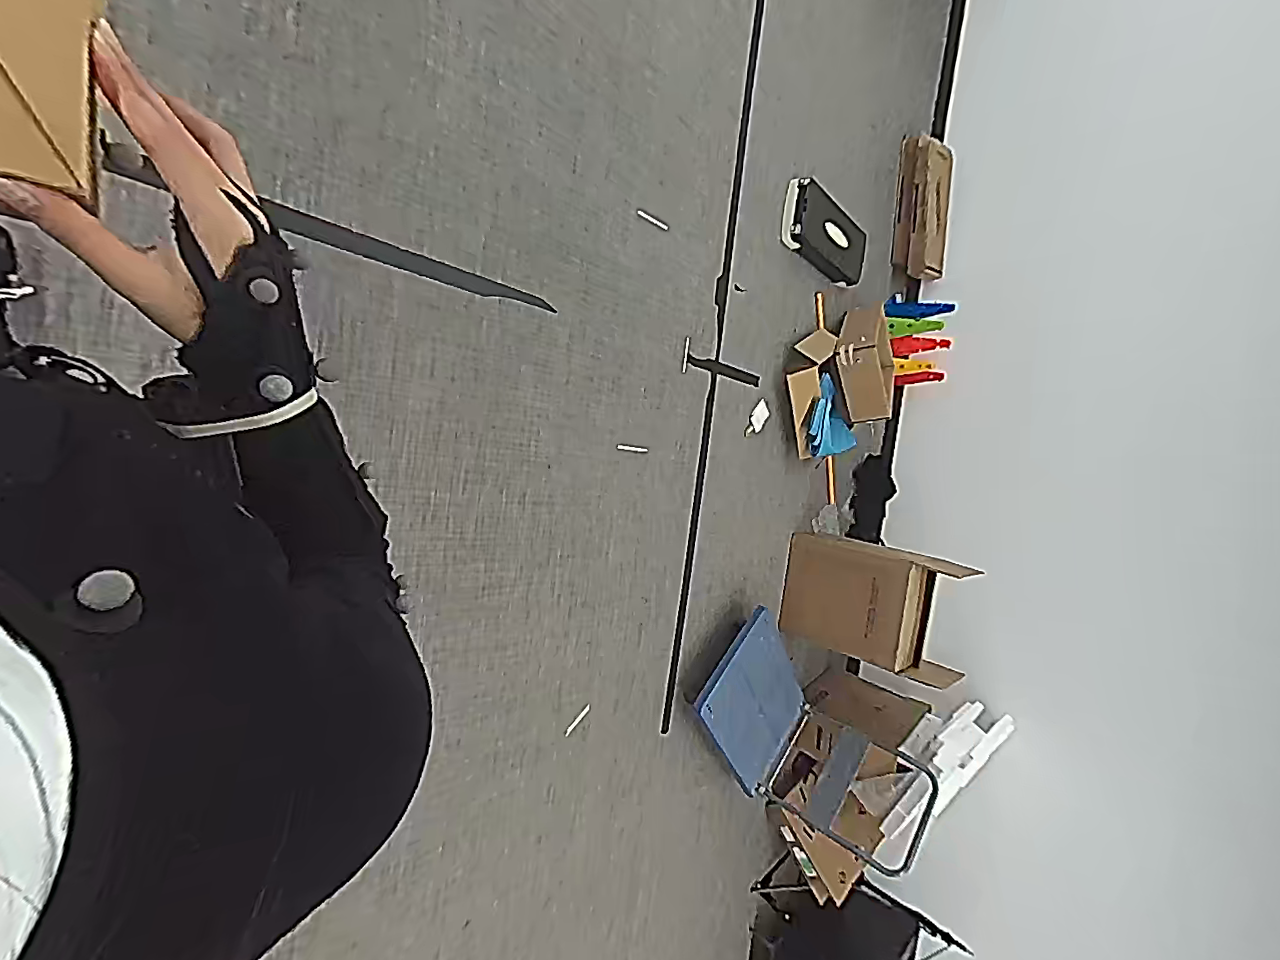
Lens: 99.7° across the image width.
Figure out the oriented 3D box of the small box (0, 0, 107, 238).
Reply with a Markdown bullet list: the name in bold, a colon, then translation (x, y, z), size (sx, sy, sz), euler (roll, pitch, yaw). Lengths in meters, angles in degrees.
- **small box**: translation (-0.340, -0.225, 0.225), size (0.168, 0.176, 0.179), euler (2, 101, -45)
